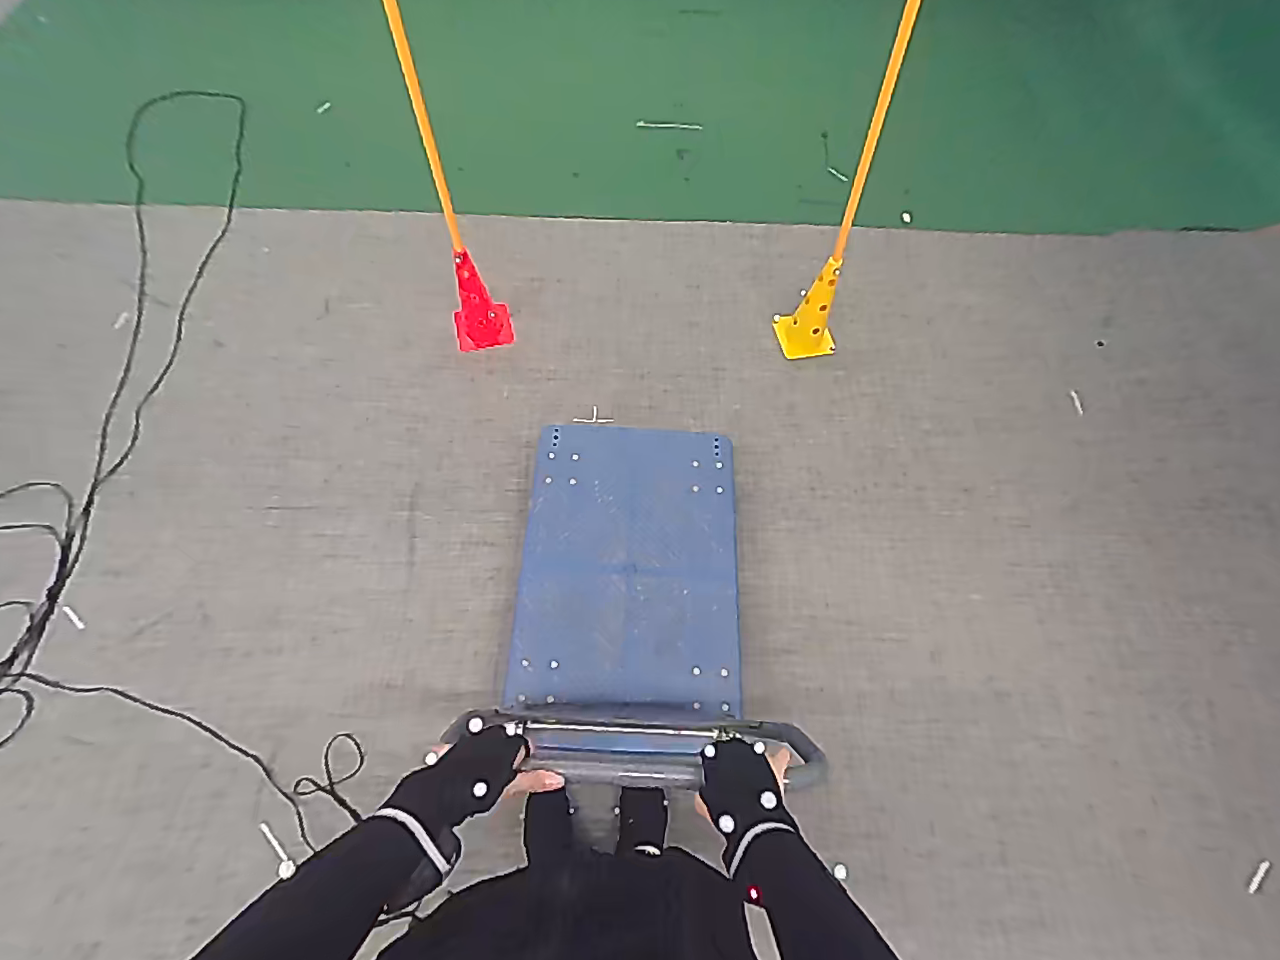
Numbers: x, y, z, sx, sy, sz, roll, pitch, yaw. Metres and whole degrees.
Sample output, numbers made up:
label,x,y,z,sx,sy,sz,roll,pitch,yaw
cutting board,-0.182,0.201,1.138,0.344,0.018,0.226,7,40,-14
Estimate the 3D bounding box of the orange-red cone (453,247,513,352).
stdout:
label,x,y,z,sx,sy,sz,roll,pitch,yaw
orange-red cone,-0.568,-0.632,1.831,0.199,0.360,0.198,-13,65,-7
